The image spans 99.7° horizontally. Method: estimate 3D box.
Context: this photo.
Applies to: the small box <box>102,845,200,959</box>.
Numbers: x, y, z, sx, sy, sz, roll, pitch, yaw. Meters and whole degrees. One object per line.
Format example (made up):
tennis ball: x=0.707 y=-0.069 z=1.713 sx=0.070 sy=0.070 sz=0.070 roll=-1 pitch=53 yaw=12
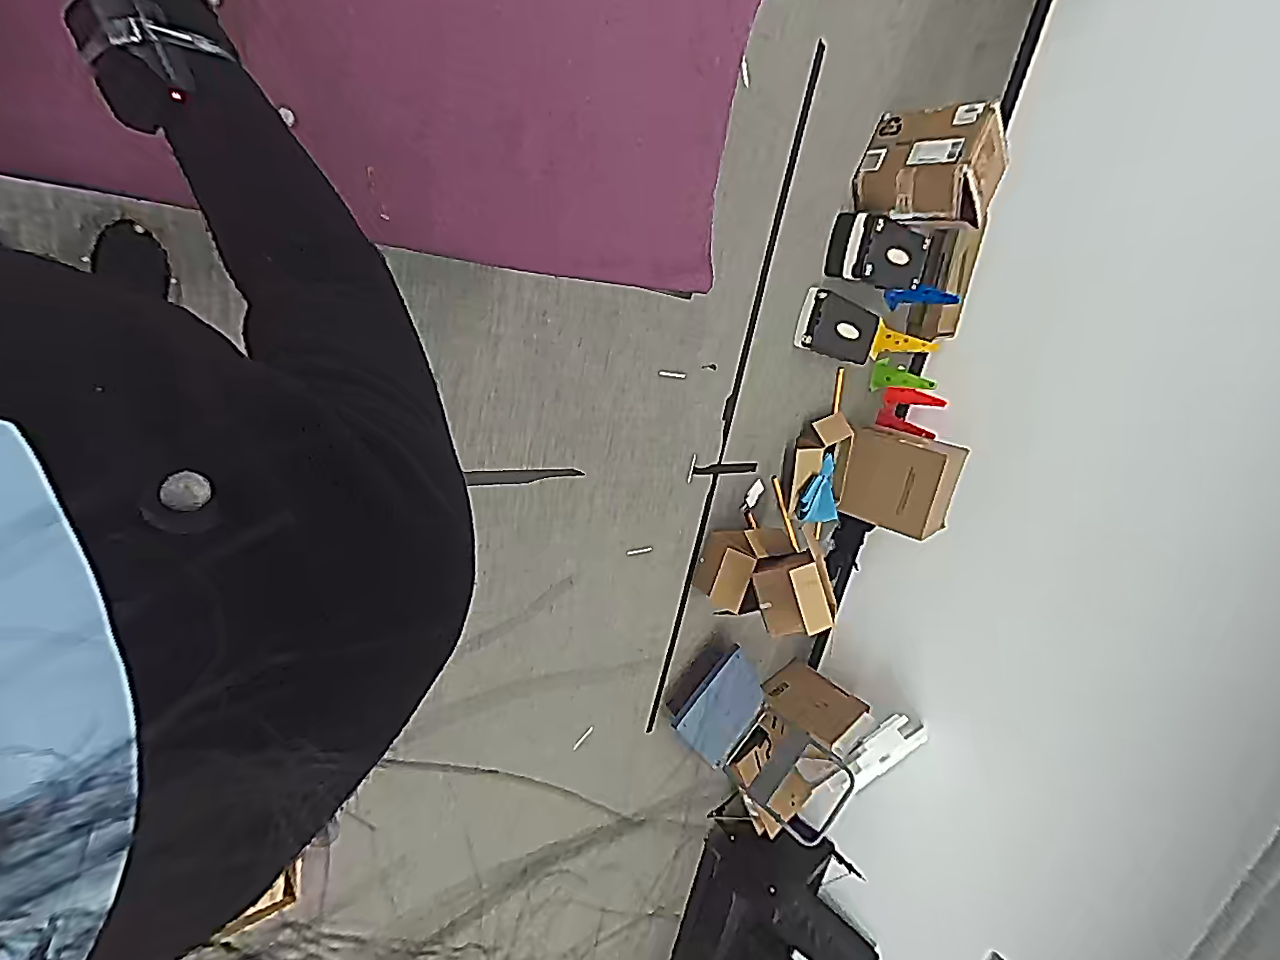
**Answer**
small box: x=-1.252 y=1.082 z=1.384 sx=0.168 sy=0.176 sz=0.179 roll=-10 pitch=117 yaw=-42
